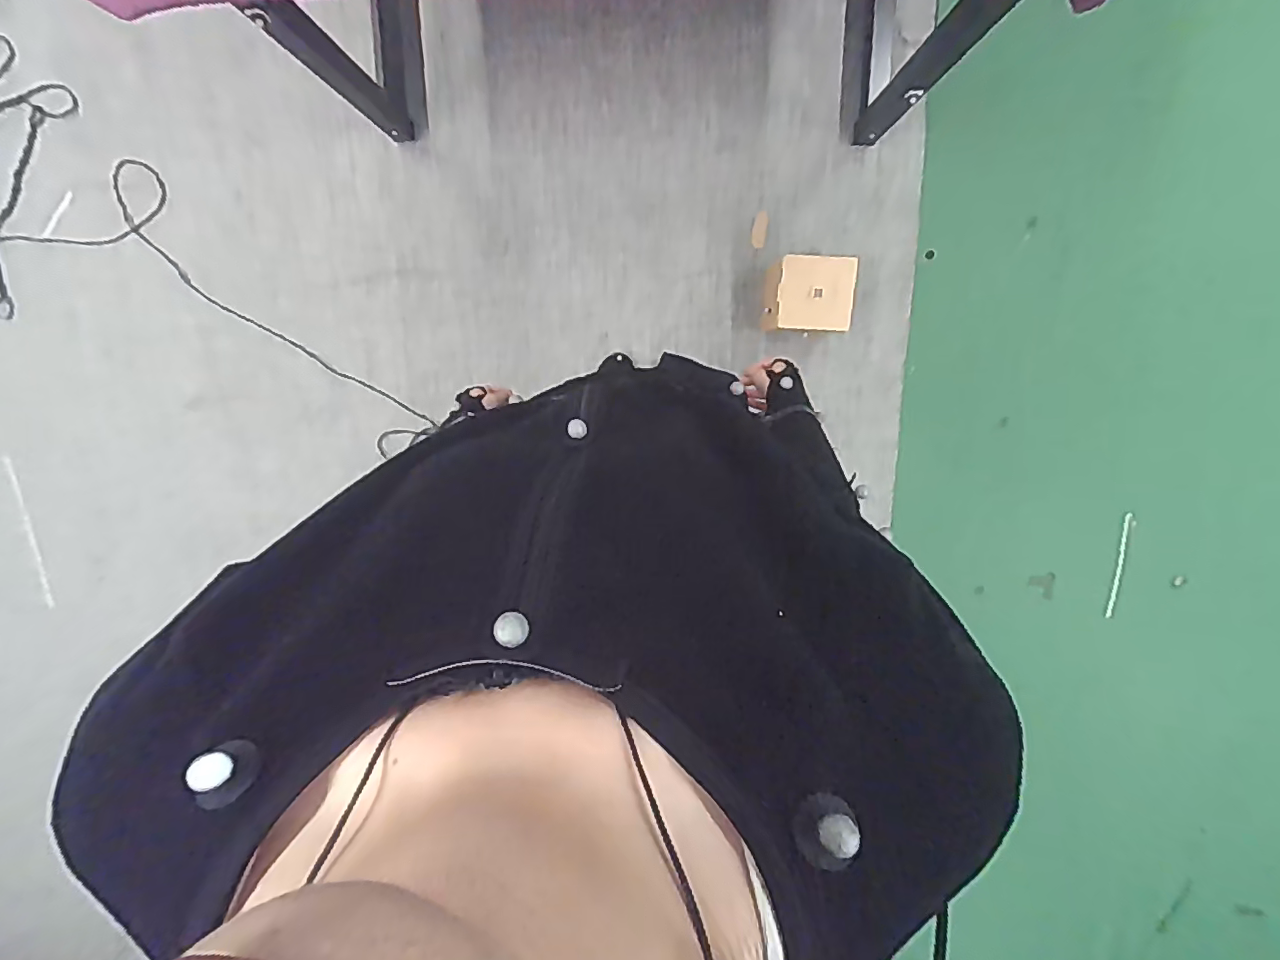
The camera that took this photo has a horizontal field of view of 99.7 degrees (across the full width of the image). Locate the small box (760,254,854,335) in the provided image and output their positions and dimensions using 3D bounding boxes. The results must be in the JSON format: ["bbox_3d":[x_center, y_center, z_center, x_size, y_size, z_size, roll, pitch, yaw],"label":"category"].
[{"bbox_3d":[0.402,-0.450,1.333,0.179,0.176,0.168,3,103,0],"label":"small box"}]
